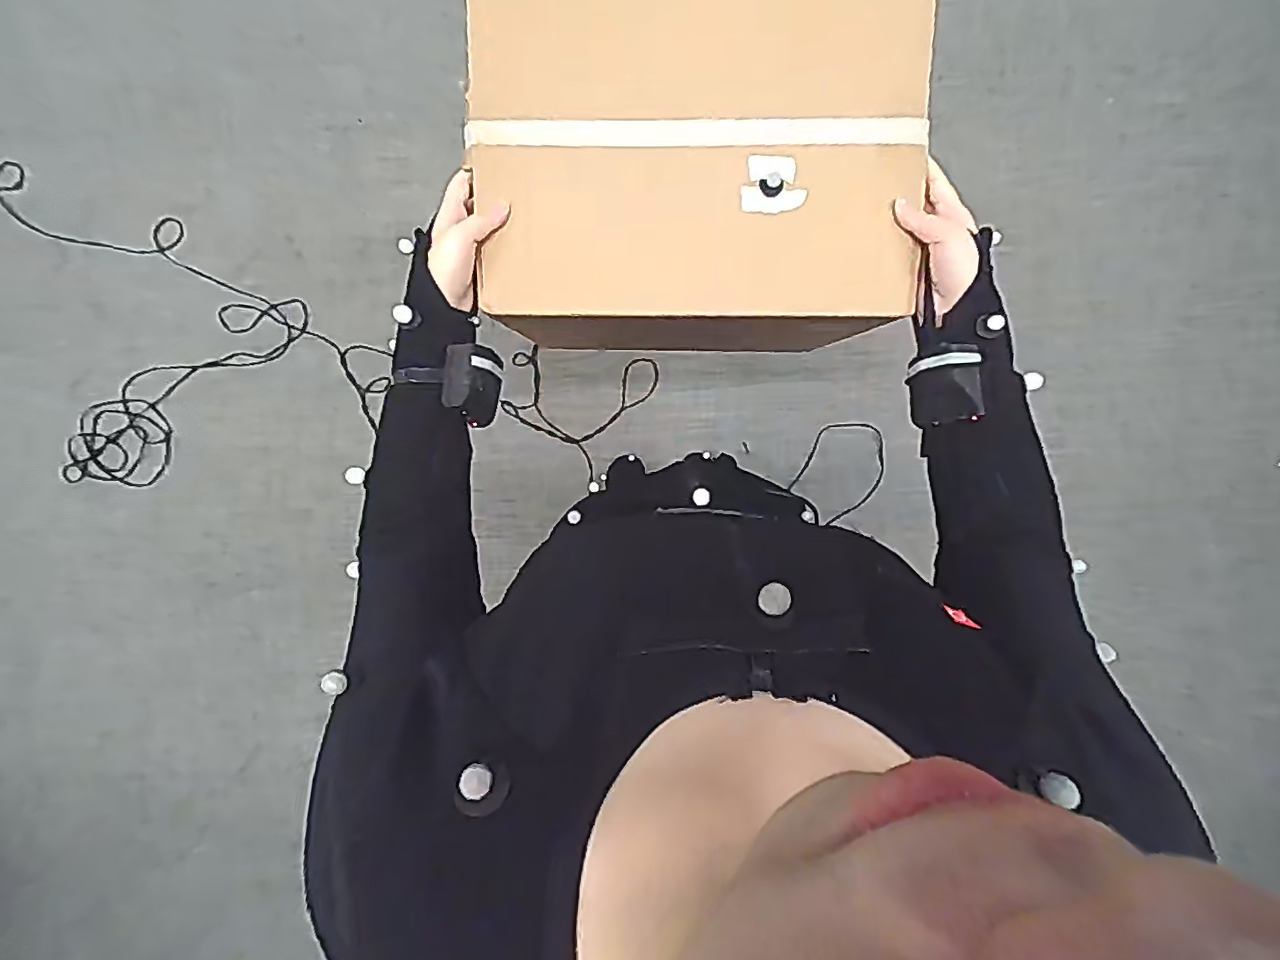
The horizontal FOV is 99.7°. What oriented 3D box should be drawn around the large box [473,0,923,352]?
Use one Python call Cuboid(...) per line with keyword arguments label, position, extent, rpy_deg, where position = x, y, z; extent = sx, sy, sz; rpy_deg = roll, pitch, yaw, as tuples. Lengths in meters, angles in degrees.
Cuboid(label="large box", position=(0.050, -0.328, 0.637), extent=(0.408, 0.320, 0.320), rpy_deg=(0, 98, -1))
